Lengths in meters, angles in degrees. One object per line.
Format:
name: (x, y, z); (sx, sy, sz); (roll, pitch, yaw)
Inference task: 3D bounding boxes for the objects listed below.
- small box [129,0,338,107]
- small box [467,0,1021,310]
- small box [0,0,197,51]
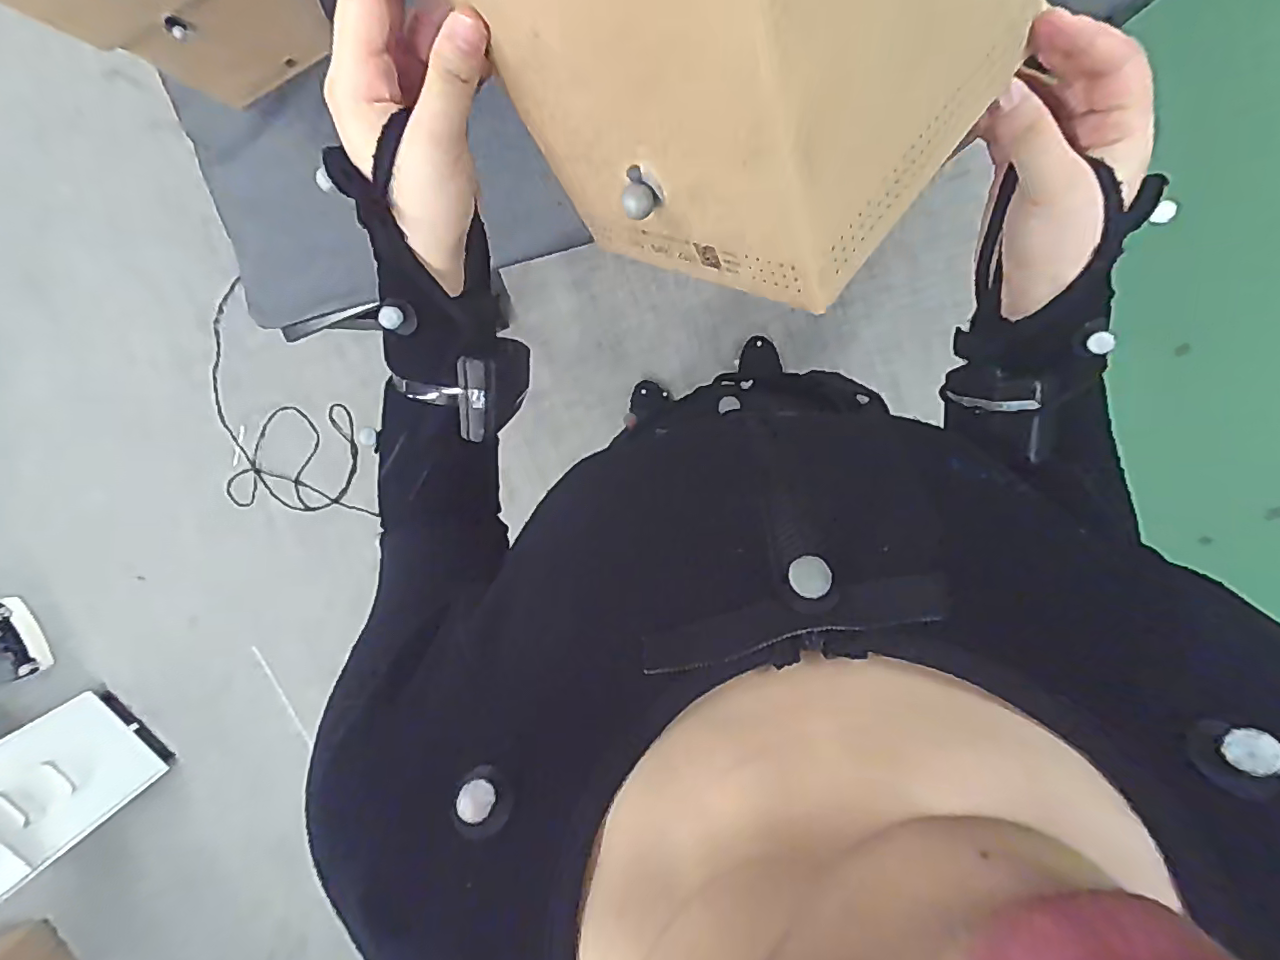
small box: (-0.487, -0.570, 0.601); (0.168, 0.176, 0.179); (-20, 101, 11)
small box: (0.046, -0.212, 0.235); (0.168, 0.176, 0.179); (36, 85, 37)
small box: (-0.500, -0.514, 0.445); (0.179, 0.176, 0.168); (-20, 102, 12)
